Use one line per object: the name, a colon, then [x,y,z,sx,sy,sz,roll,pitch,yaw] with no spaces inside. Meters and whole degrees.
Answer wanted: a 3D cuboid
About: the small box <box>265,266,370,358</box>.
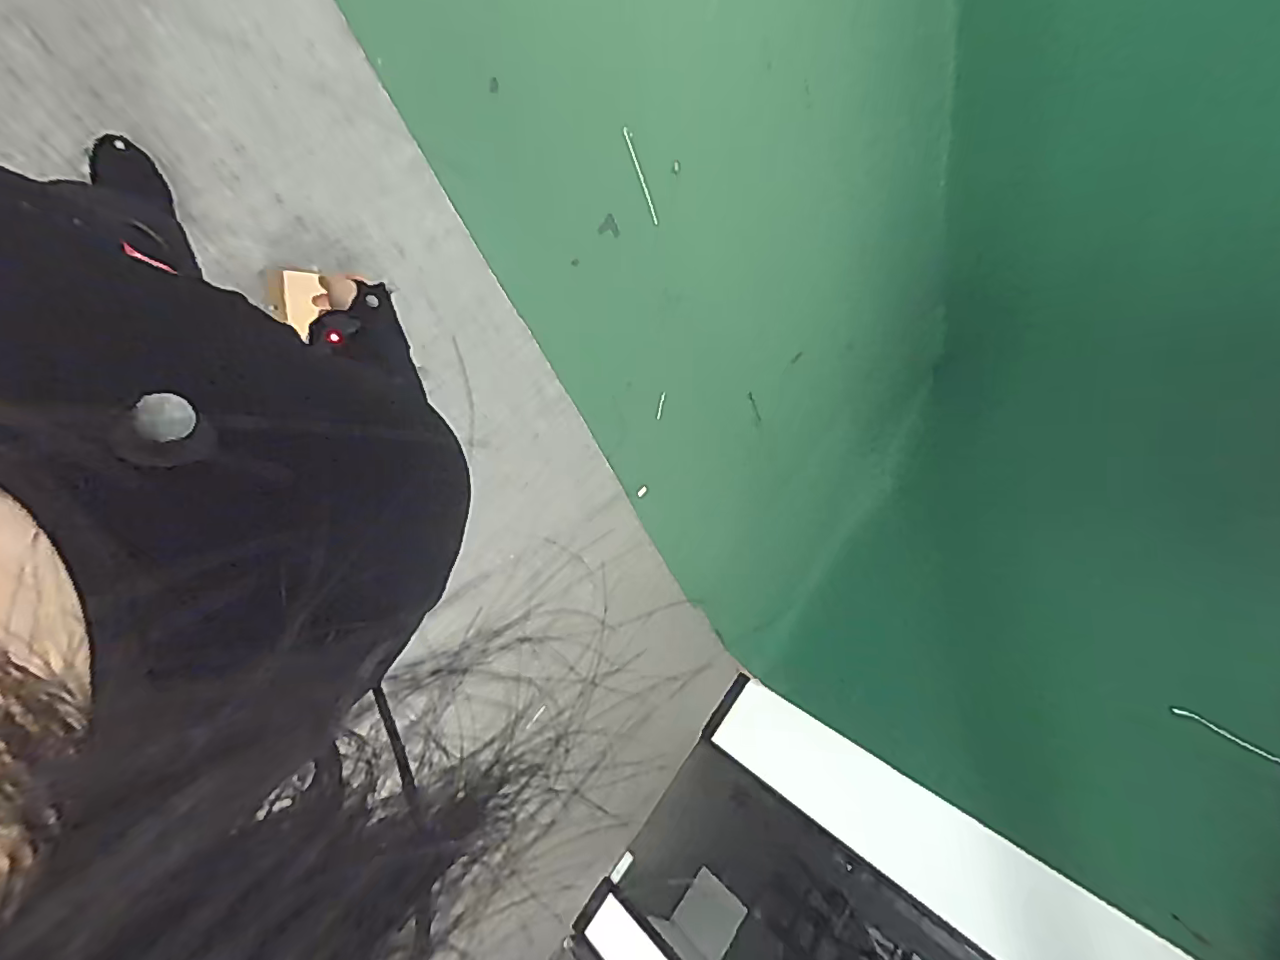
small box: [-0.725,-0.378,1.218,0.168,0.176,0.179,-10,114,-44]
